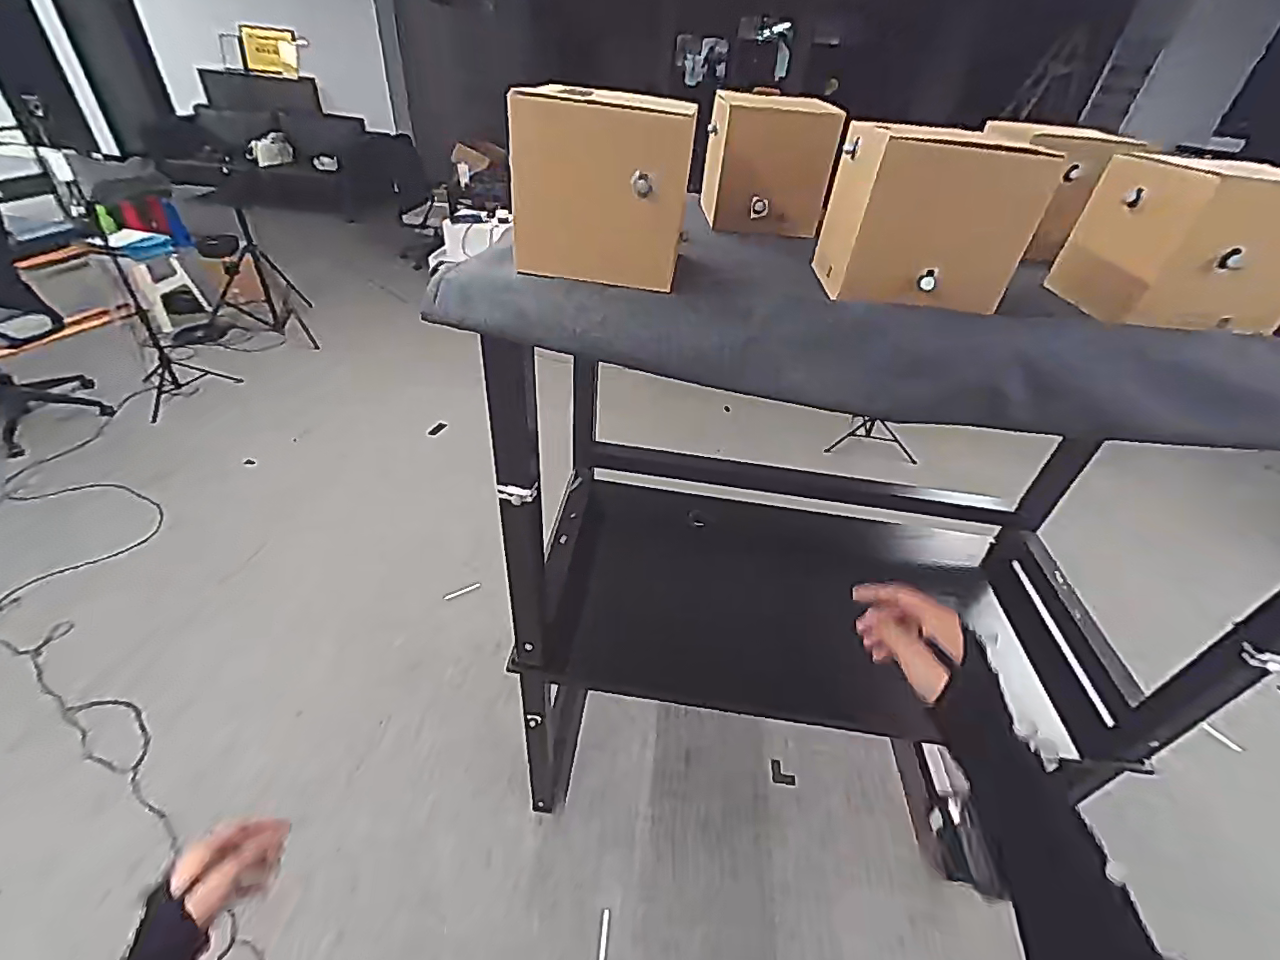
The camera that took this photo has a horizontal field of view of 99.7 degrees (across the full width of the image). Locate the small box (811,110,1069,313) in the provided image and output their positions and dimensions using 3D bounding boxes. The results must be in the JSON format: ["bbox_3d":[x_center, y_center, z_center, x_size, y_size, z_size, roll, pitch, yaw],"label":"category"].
[{"bbox_3d":[0.315,-0.303,0.614,0.179,0.176,0.168,8,37,1],"label":"small box"}]

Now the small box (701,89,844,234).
[{"bbox_3d":[0.193,-0.502,0.851,0.168,0.176,0.179,2,38,-2],"label":"small box"}]

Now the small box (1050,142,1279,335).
[{"bbox_3d":[0.638,-0.281,0.628,0.168,0.176,0.179,6,37,1],"label":"small box"}]

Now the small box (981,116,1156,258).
[{"bbox_3d":[0.625,-0.462,0.852,0.179,0.176,0.168,7,39,2],"label":"small box"}]
